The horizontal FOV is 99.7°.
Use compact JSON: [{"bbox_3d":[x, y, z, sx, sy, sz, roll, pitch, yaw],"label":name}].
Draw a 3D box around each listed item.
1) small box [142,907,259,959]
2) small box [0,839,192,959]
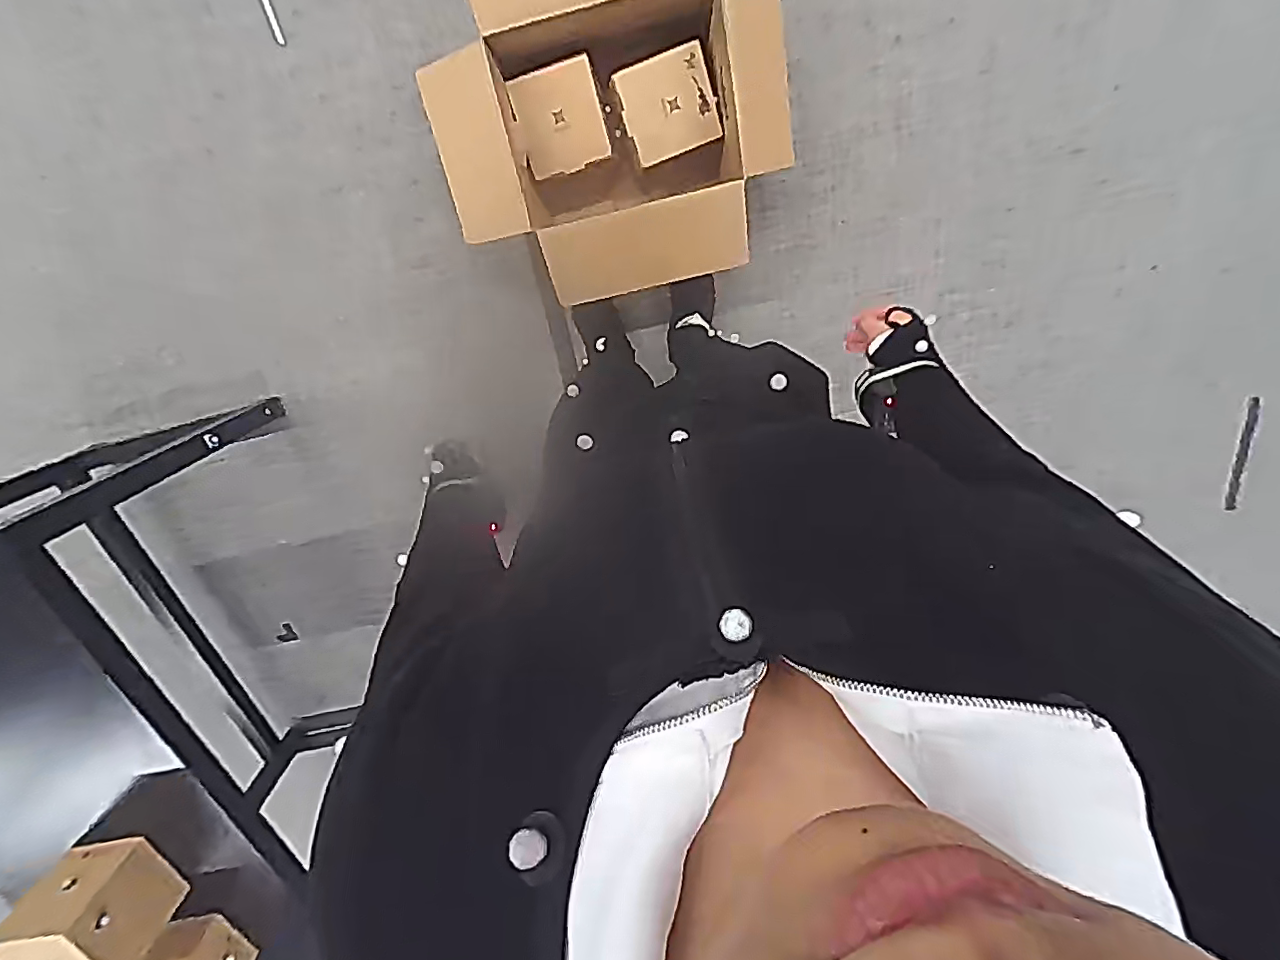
[{"bbox_3d":[-0.977,1.060,1.154,0.179,0.176,0.168,-14,114,5],"label":"small box"},{"bbox_3d":[-1.039,0.825,1.044,0.168,0.176,0.179,-12,114,6],"label":"small box"}]
